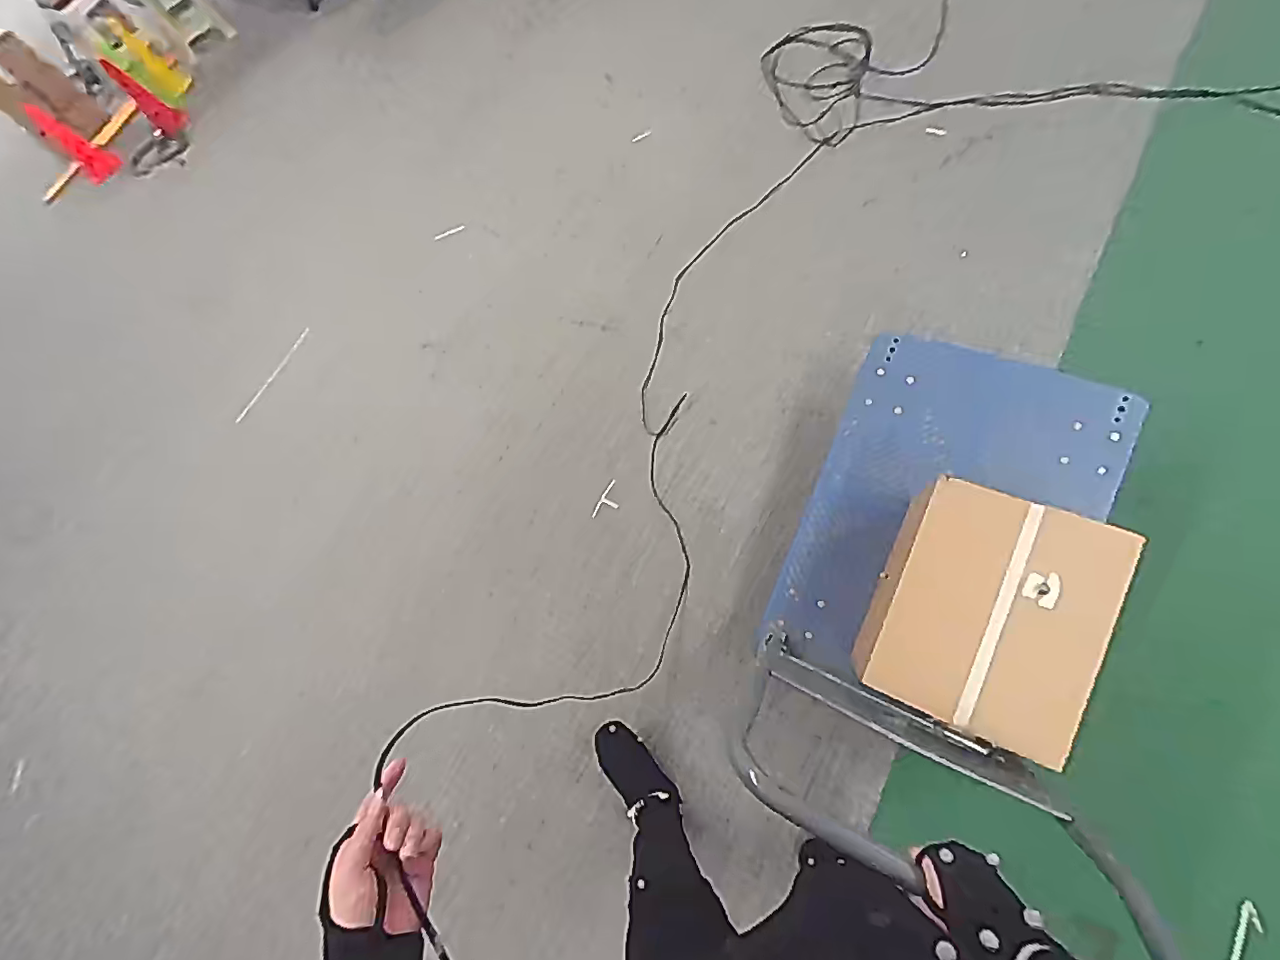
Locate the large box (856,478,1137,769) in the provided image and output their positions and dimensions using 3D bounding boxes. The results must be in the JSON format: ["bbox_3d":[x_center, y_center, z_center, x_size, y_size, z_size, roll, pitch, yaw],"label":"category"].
[{"bbox_3d":[0.650,0.257,1.057,0.320,0.320,0.408,22,86,20],"label":"large box"}]
